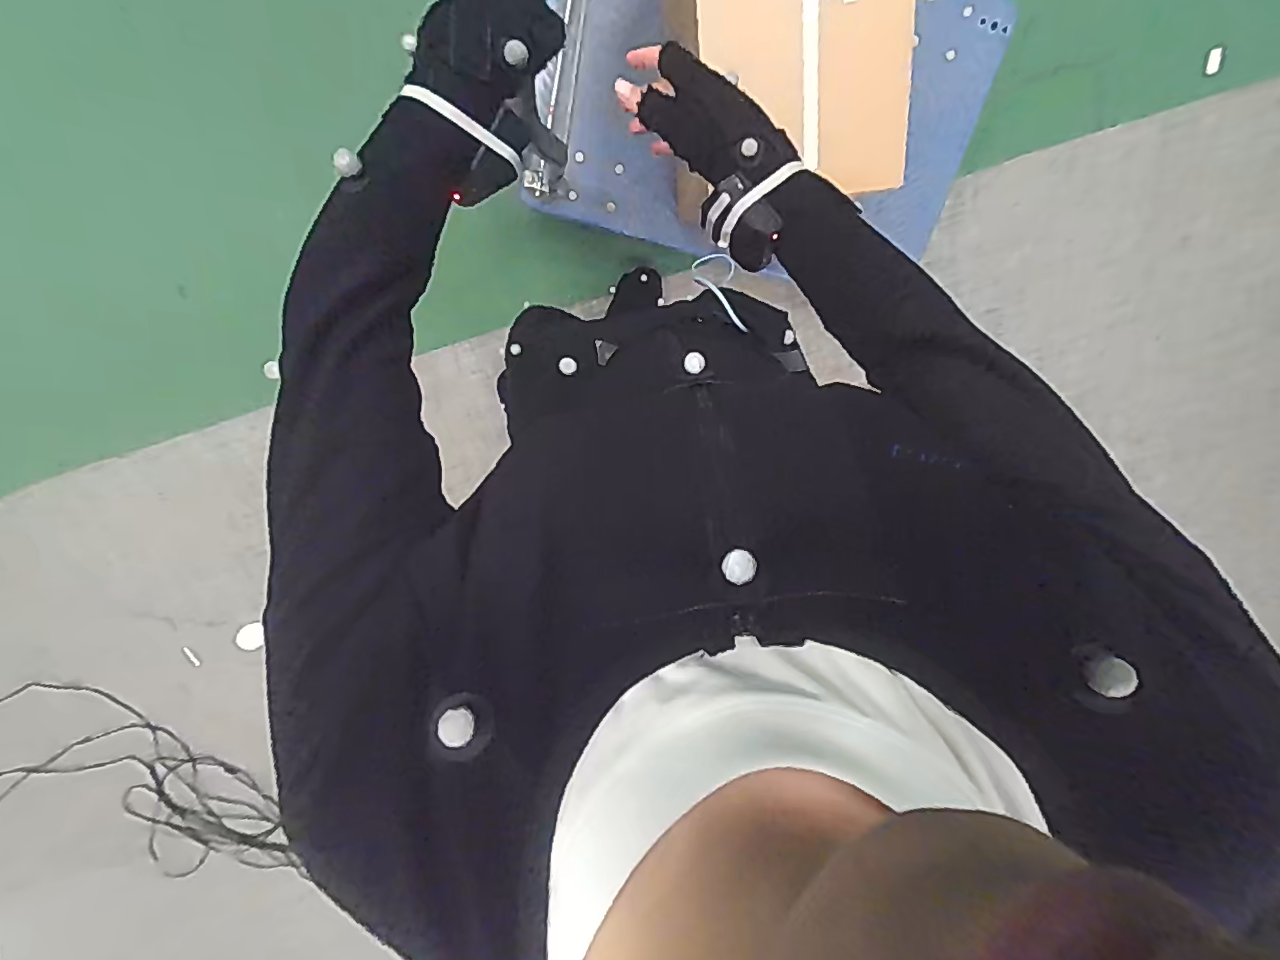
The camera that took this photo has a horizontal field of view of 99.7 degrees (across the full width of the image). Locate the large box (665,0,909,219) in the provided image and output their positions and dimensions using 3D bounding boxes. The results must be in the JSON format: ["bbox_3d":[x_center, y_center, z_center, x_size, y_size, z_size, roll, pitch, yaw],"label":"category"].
[{"bbox_3d":[0.225,-0.689,0.911,0.320,0.320,0.408,-8,113,-1],"label":"large box"}]
